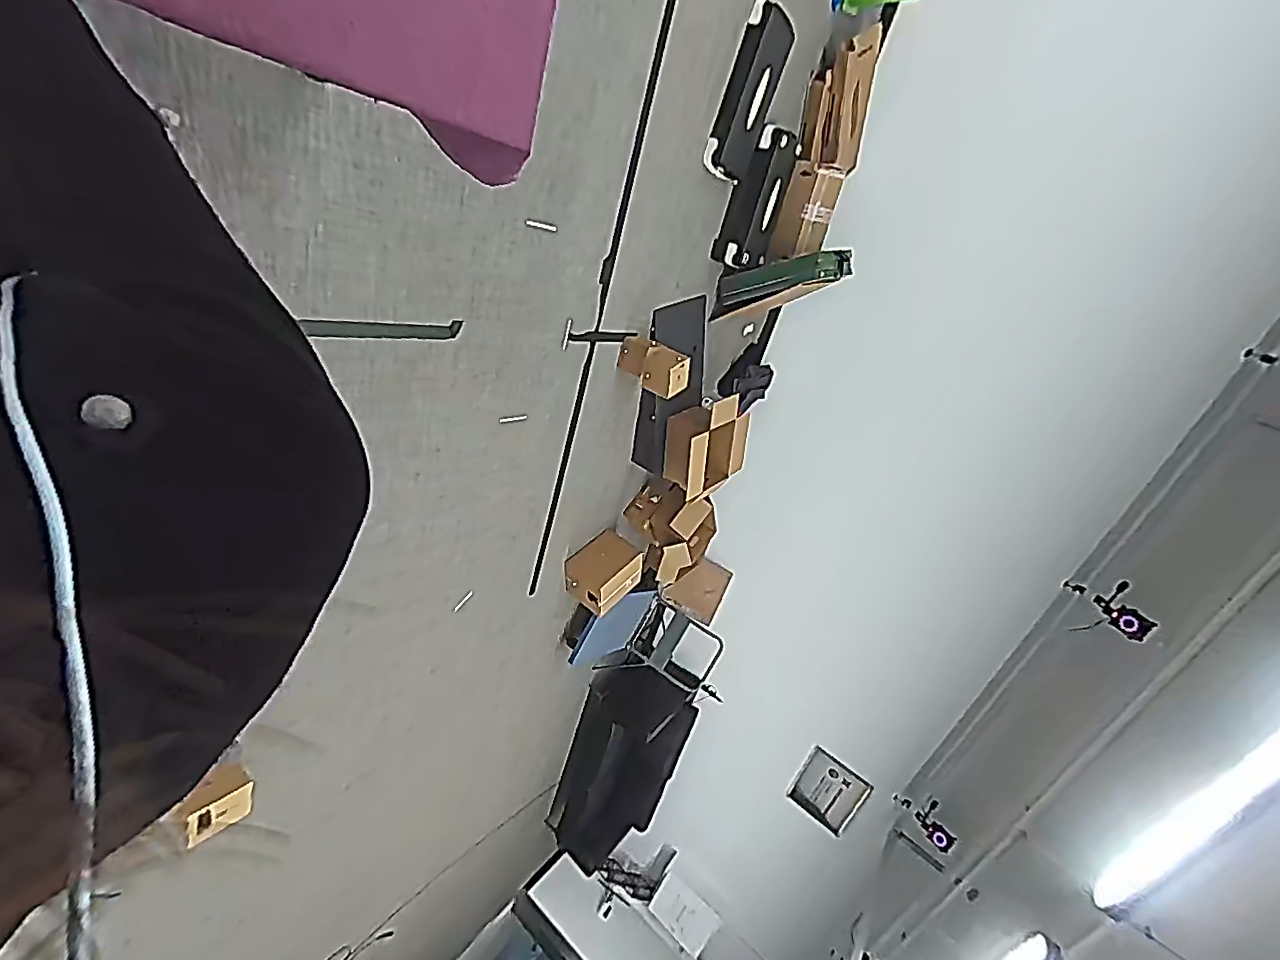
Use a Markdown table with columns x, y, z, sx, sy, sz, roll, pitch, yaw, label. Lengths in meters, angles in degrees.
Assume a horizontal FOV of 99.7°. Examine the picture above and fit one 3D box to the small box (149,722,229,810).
| x | y | z | sx | sy | sz | roll | pitch | yaw | label |
| --- | --- | --- | --- | --- | --- | --- | --- | --- | --- |
| -1.527 | 0.954 | 1.831 | 0.168 | 0.176 | 0.179 | -19 | 134 | -53 | small box |
